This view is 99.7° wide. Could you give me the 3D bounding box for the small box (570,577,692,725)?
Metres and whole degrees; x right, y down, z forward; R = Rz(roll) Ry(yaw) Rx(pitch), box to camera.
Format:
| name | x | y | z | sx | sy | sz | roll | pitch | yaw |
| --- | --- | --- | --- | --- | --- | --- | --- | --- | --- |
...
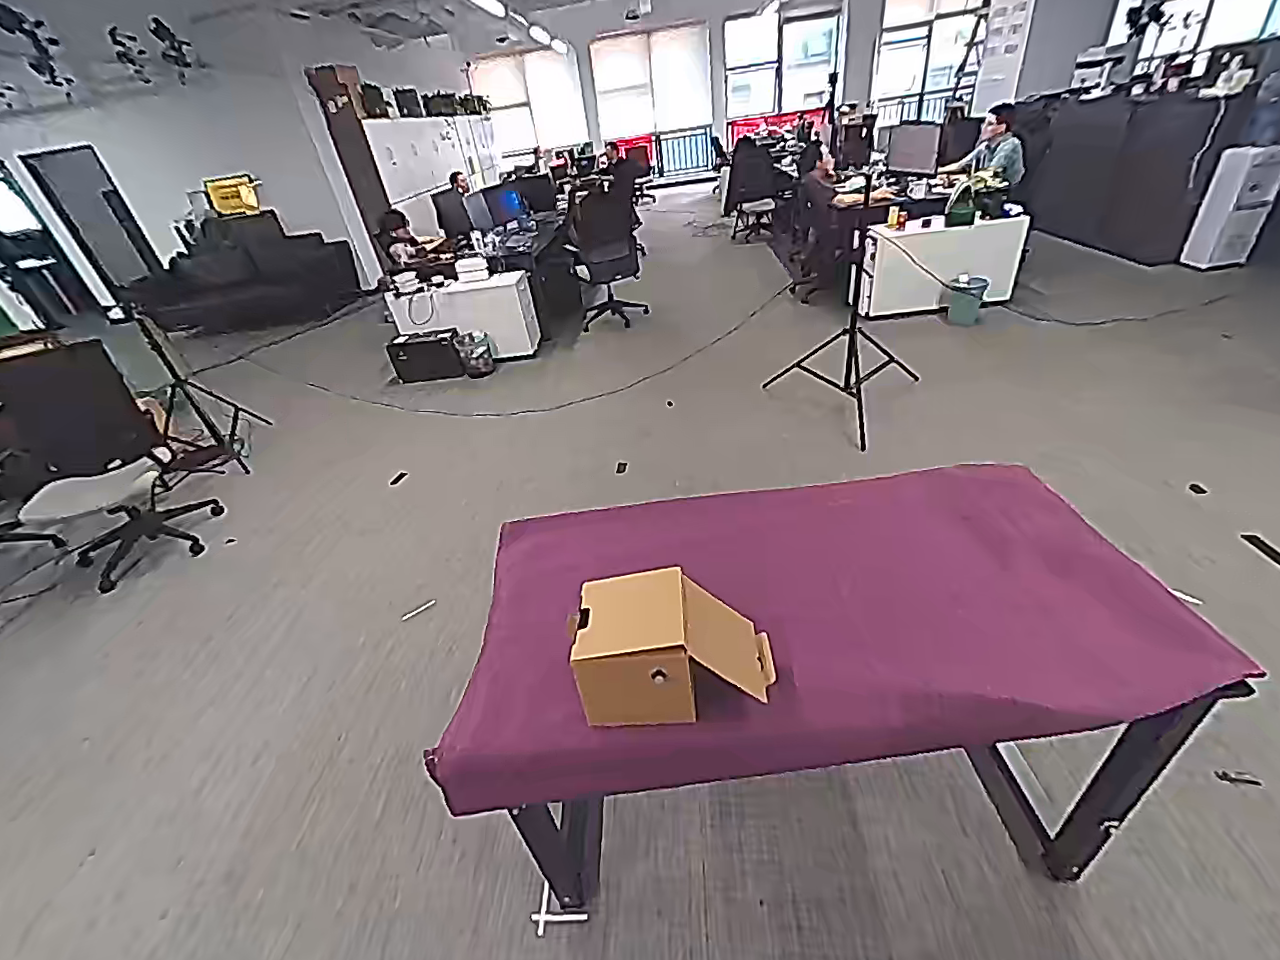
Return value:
| name | x | y | z | sx | sy | sz | roll | pitch | yaw |
| --- | --- | --- | --- | --- | --- | --- | --- | --- | --- |
| small box | -0.005 | 0.283 | 0.896 | 0.179 | 0.176 | 0.168 | -5 | 32 | 6 |
